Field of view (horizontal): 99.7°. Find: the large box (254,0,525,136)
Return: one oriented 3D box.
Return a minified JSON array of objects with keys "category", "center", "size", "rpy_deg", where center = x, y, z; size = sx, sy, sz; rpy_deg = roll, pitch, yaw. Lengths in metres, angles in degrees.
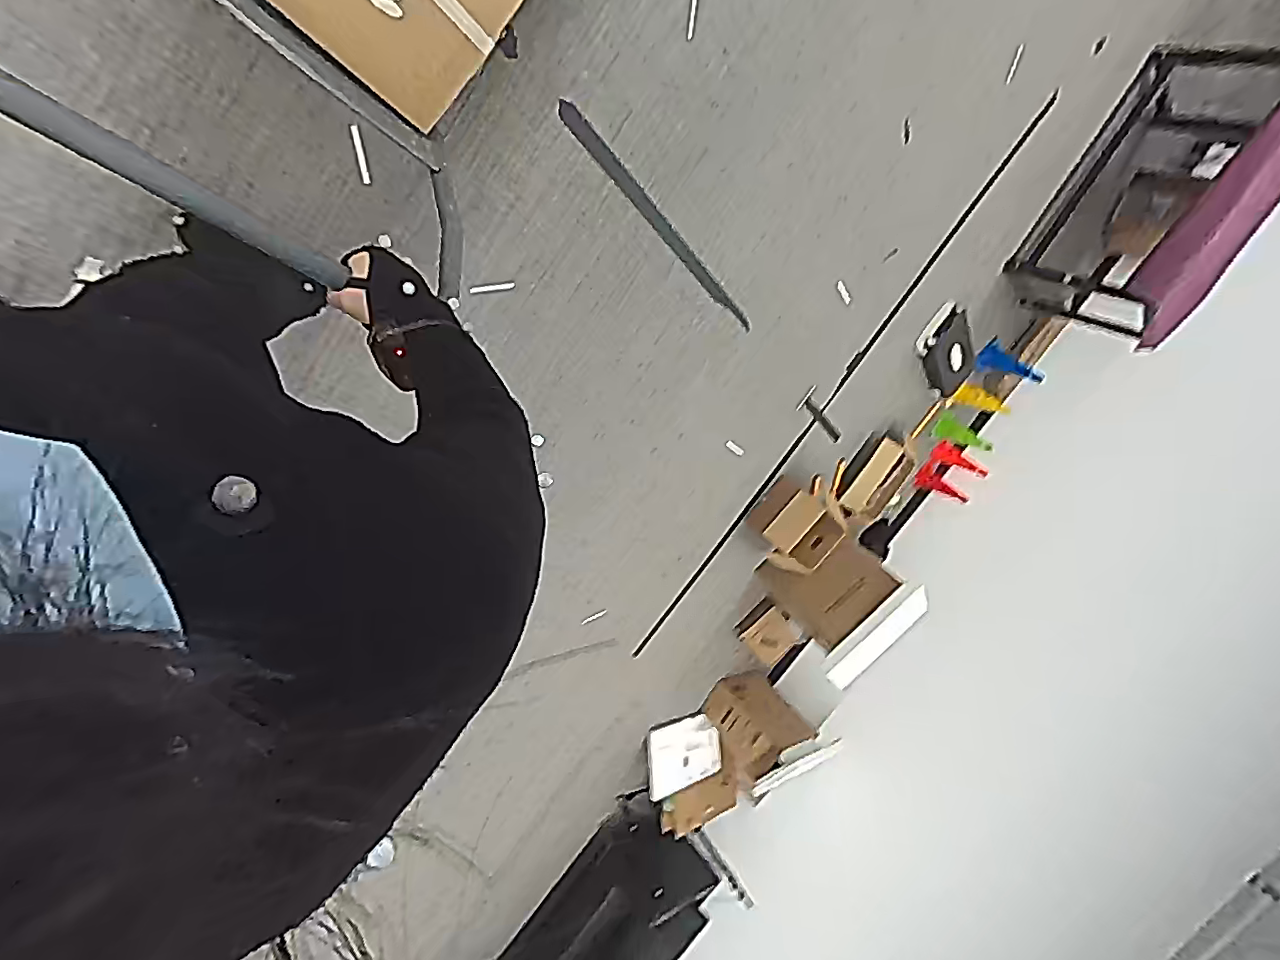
[{"category":"large box","center":[-0.391,-0.777,0.699],"size":[0.320,0.320,0.408],"rpy_deg":[-37,147,21]}]
